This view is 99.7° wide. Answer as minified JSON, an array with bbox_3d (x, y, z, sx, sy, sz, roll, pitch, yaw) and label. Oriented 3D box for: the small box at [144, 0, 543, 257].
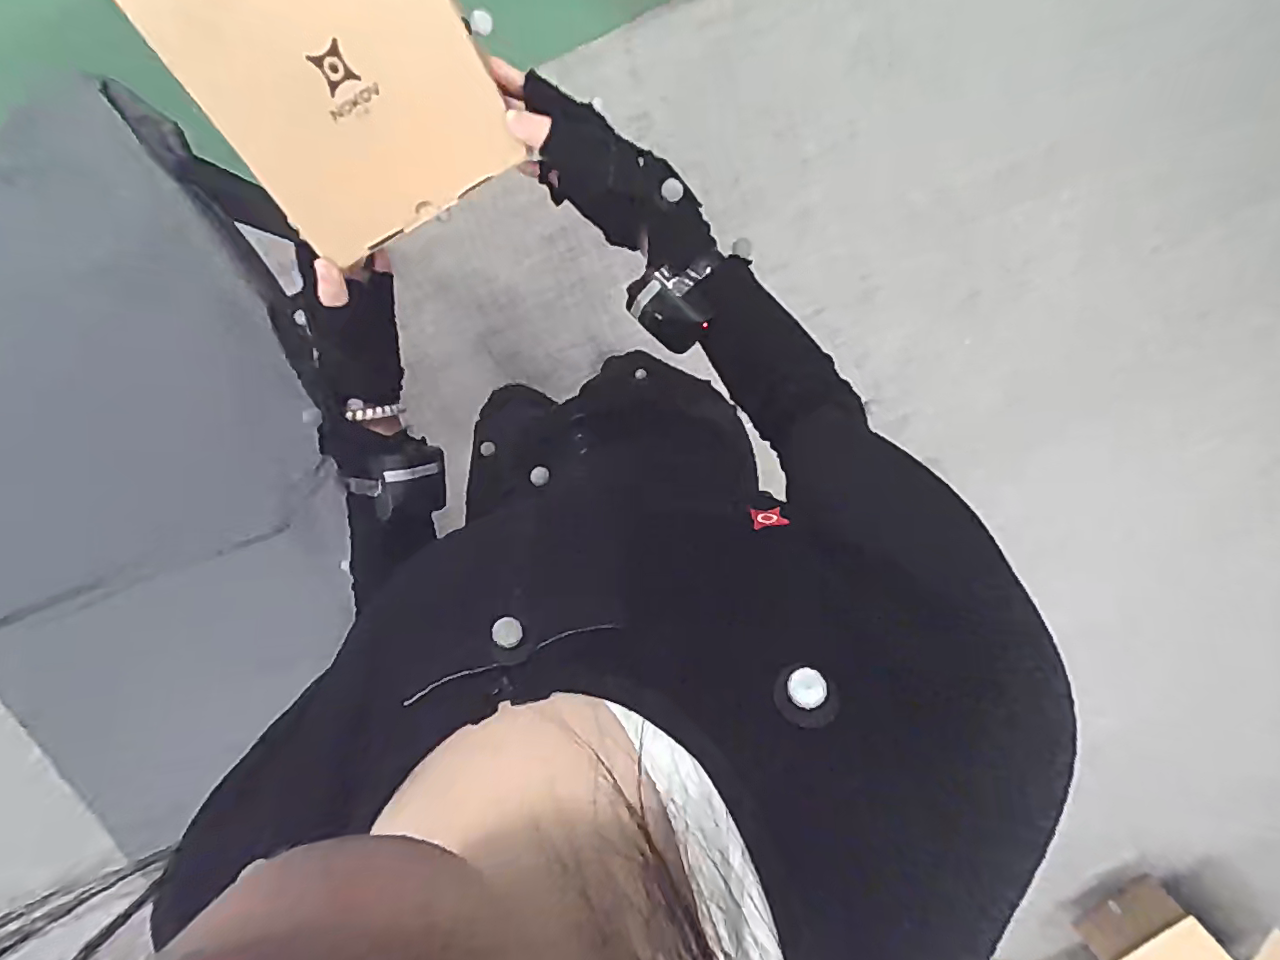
[{"bbox_3d":[-0.188,-0.297,0.393,0.168,0.176,0.179,-27,126,6],"label":"small box"}]
